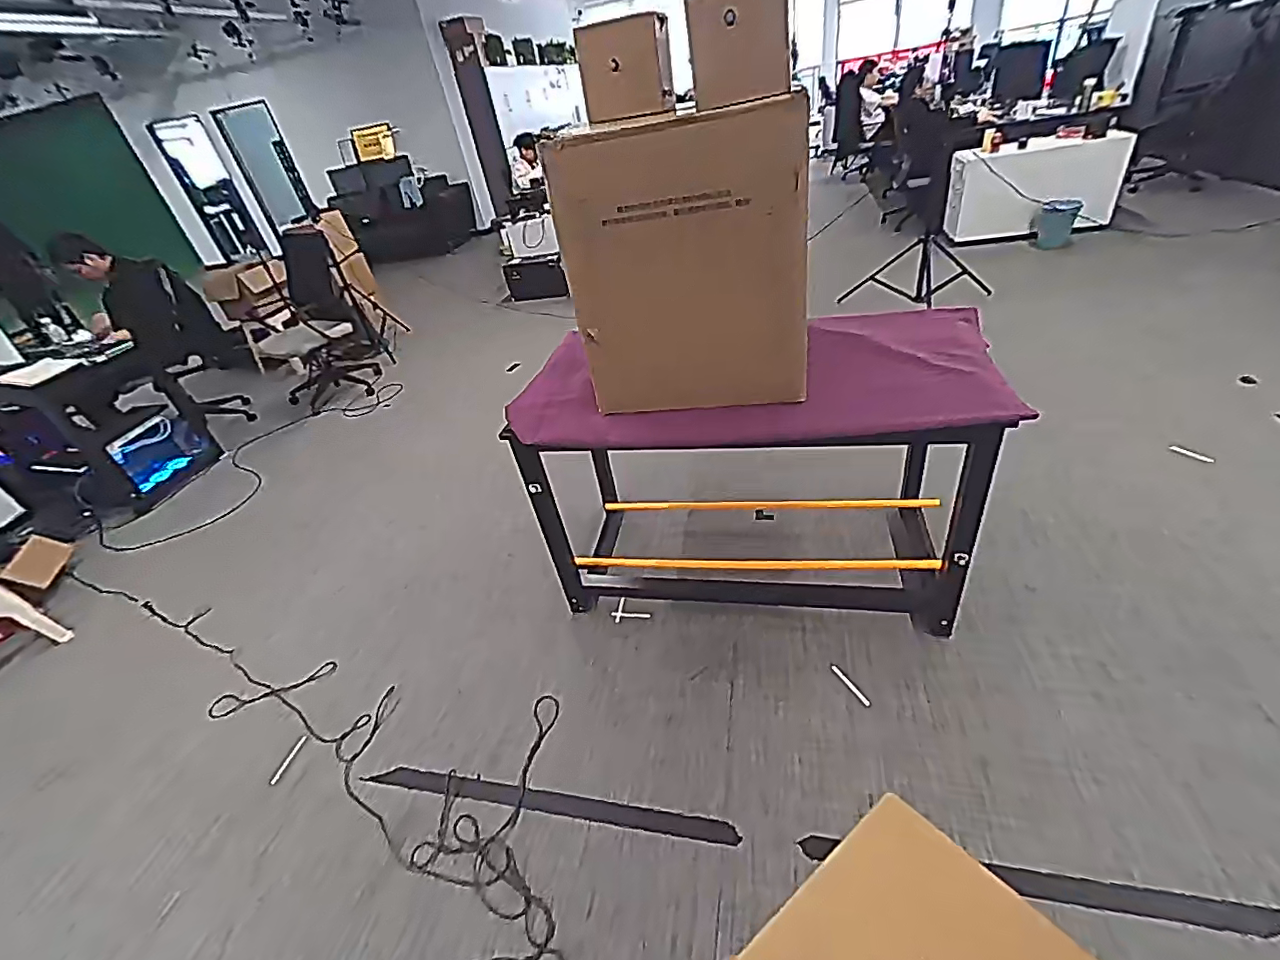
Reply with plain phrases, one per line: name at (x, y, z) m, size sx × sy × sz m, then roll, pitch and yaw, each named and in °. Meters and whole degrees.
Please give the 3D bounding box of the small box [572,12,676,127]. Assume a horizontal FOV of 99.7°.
small box at (-0.024, -0.896, 1.186) m, size 0.179 × 0.176 × 0.168 m, roll 0°, pitch 36°, yaw 18°
